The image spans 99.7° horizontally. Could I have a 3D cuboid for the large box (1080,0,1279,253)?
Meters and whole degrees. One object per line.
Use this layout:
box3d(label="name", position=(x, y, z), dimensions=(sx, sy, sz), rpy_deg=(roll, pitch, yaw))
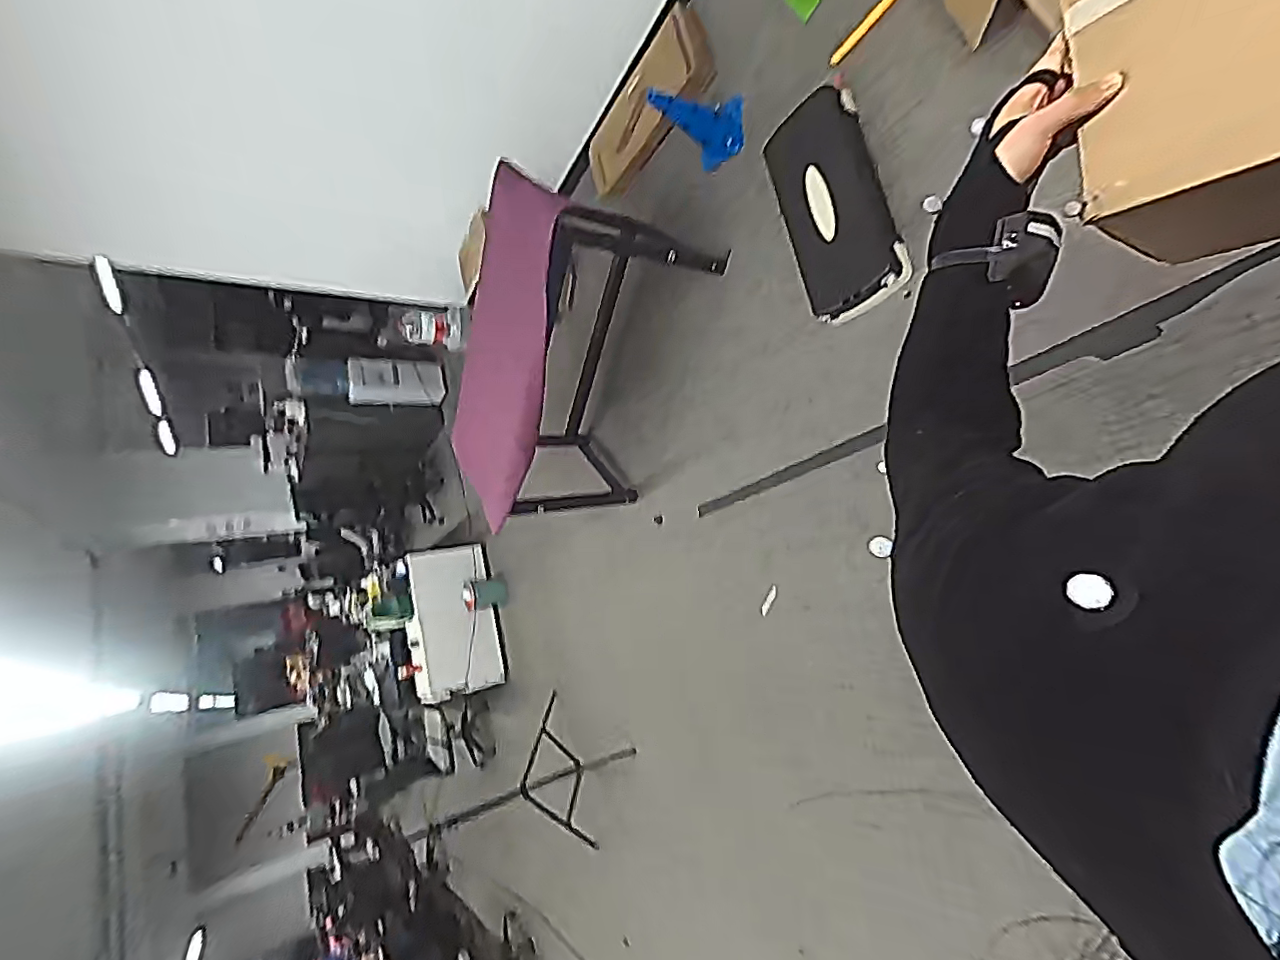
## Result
box3d(label="large box", position=(0.589, -0.390, 0.353), dimensions=(0.408, 0.320, 0.320), rpy_deg=(-3, 93, 56))
